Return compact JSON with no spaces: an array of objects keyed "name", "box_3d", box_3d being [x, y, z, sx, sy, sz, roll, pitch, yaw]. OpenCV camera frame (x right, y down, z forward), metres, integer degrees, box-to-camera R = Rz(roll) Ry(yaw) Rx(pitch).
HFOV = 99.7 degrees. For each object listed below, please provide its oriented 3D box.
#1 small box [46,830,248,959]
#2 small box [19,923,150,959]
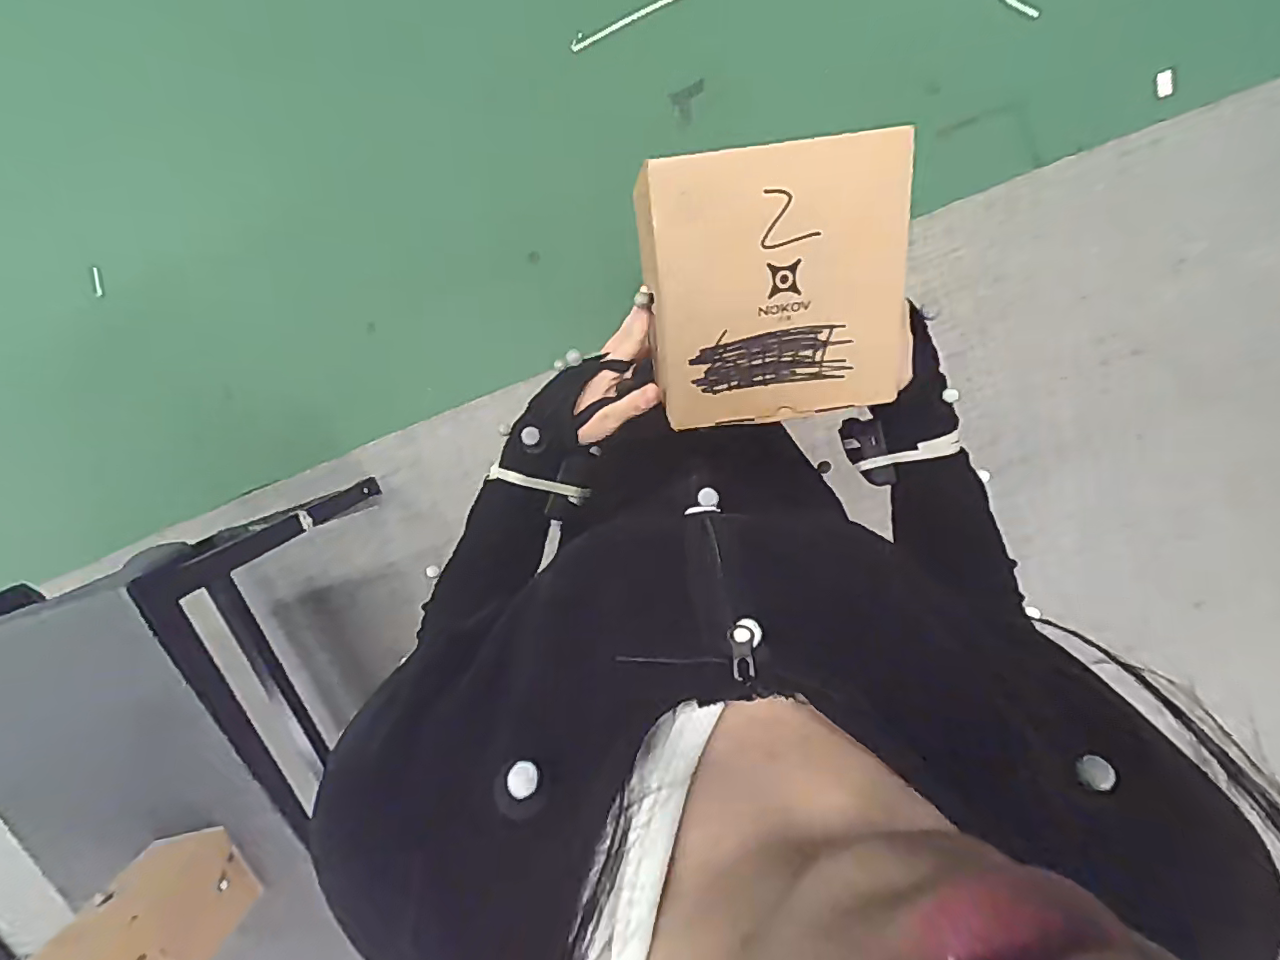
[{"name":"small box","box_3d":[-0.867,0.773,0.970,0.179,0.176,0.168,-18,104,10]},{"name":"small box","box_3d":[-0.888,0.820,0.817,0.179,0.176,0.168,-18,103,10]}]
